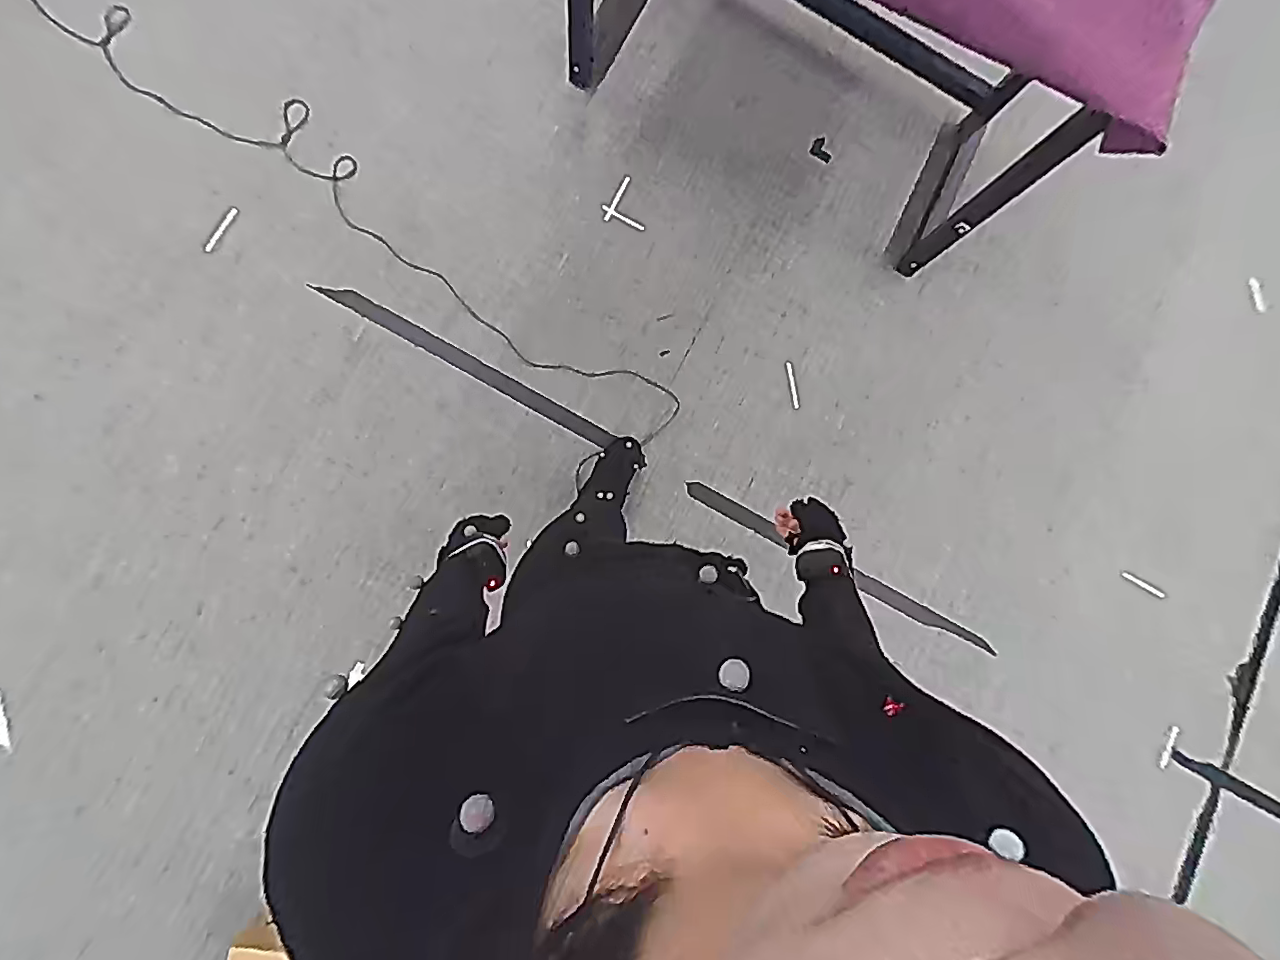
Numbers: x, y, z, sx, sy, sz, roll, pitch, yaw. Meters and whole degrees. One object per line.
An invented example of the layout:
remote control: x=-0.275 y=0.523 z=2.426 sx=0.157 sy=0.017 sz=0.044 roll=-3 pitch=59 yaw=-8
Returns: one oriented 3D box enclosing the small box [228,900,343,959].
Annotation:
small box: x=-0.829 y=1.120 z=1.255 sx=0.179 sy=0.176 sz=0.168 roll=9 pitch=85 yaw=-7
